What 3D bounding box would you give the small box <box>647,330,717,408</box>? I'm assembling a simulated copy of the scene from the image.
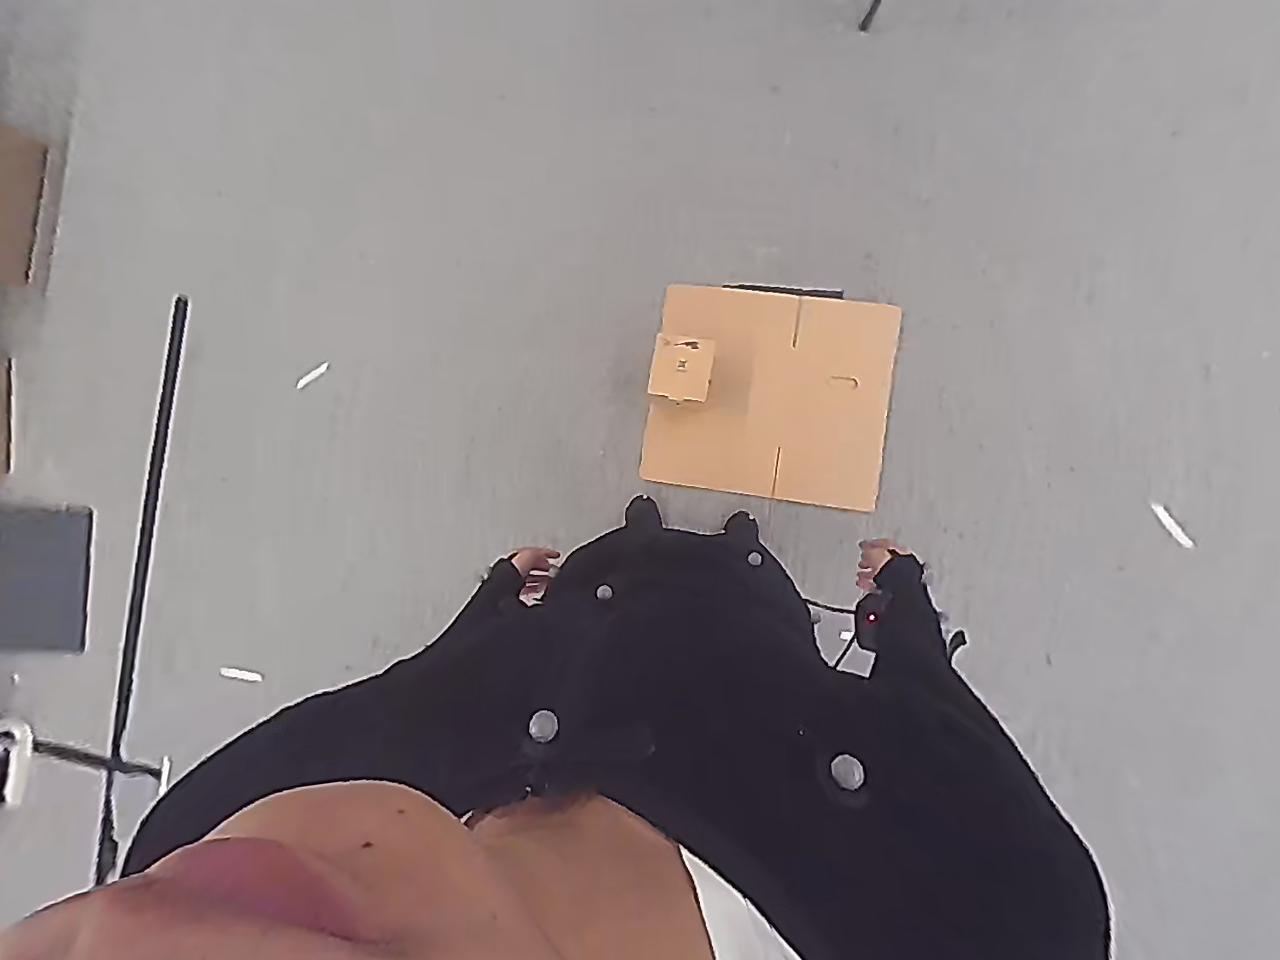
[{"bbox_3d":[0.125,-0.310,1.542,0.168,0.176,0.179,11,91,7],"label":"small box"}]
